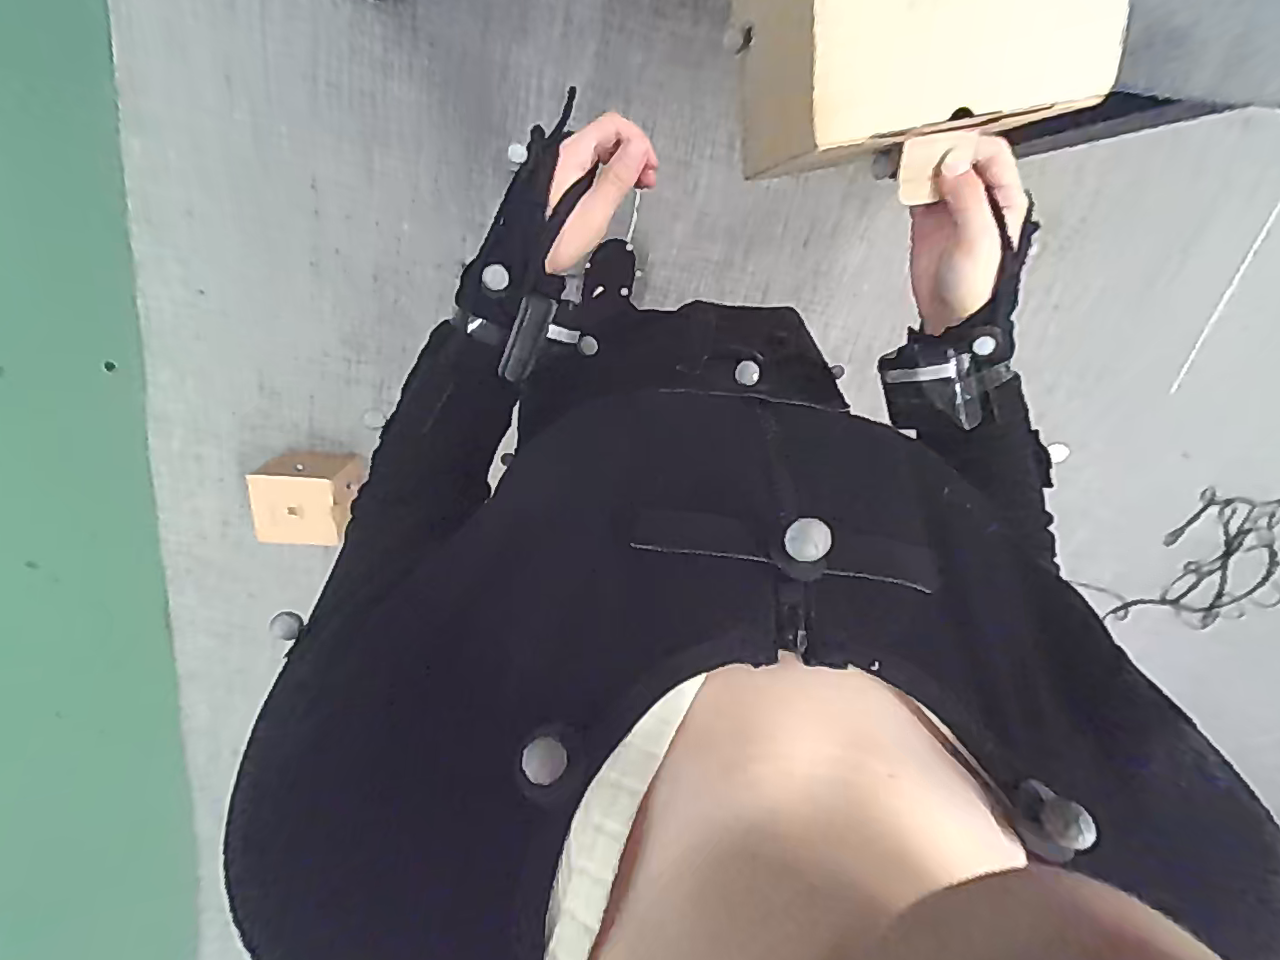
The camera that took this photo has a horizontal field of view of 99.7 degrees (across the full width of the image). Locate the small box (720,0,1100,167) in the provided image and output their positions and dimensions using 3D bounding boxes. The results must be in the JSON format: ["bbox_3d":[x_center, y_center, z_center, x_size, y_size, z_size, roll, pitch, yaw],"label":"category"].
[{"bbox_3d":[0.148,-0.311,0.340,0.168,0.176,0.179,-11,115,1],"label":"small box"}]

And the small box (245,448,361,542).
[{"bbox_3d":[-0.769,0.030,1.259,0.179,0.176,0.168,4,111,-7],"label":"small box"}]
